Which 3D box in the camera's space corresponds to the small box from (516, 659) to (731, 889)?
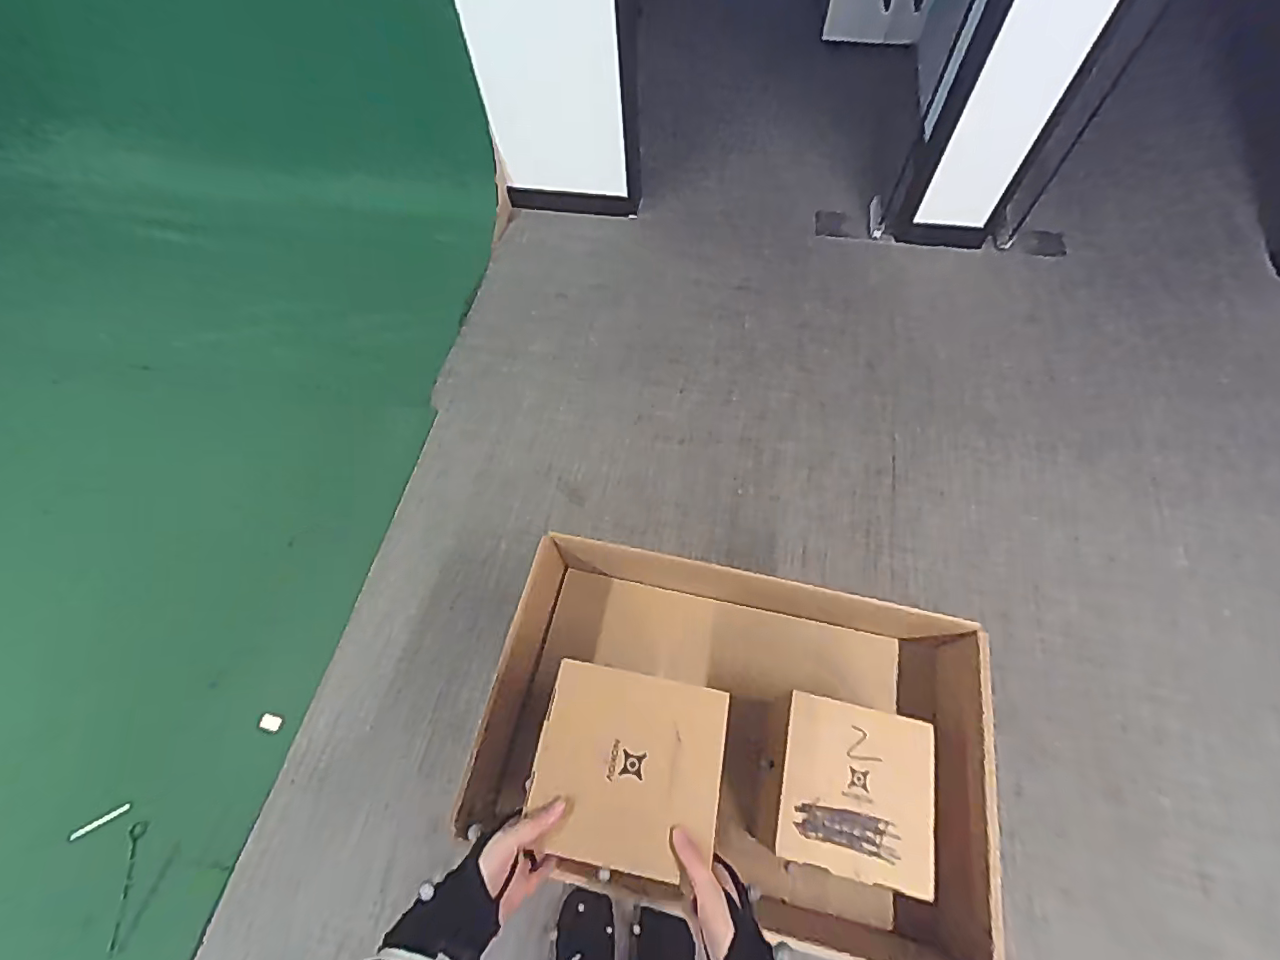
[{"bbox_3d":[-0.011,0.308,0.579,0.179,0.176,0.168,11,61,5],"label":"small box"}]
